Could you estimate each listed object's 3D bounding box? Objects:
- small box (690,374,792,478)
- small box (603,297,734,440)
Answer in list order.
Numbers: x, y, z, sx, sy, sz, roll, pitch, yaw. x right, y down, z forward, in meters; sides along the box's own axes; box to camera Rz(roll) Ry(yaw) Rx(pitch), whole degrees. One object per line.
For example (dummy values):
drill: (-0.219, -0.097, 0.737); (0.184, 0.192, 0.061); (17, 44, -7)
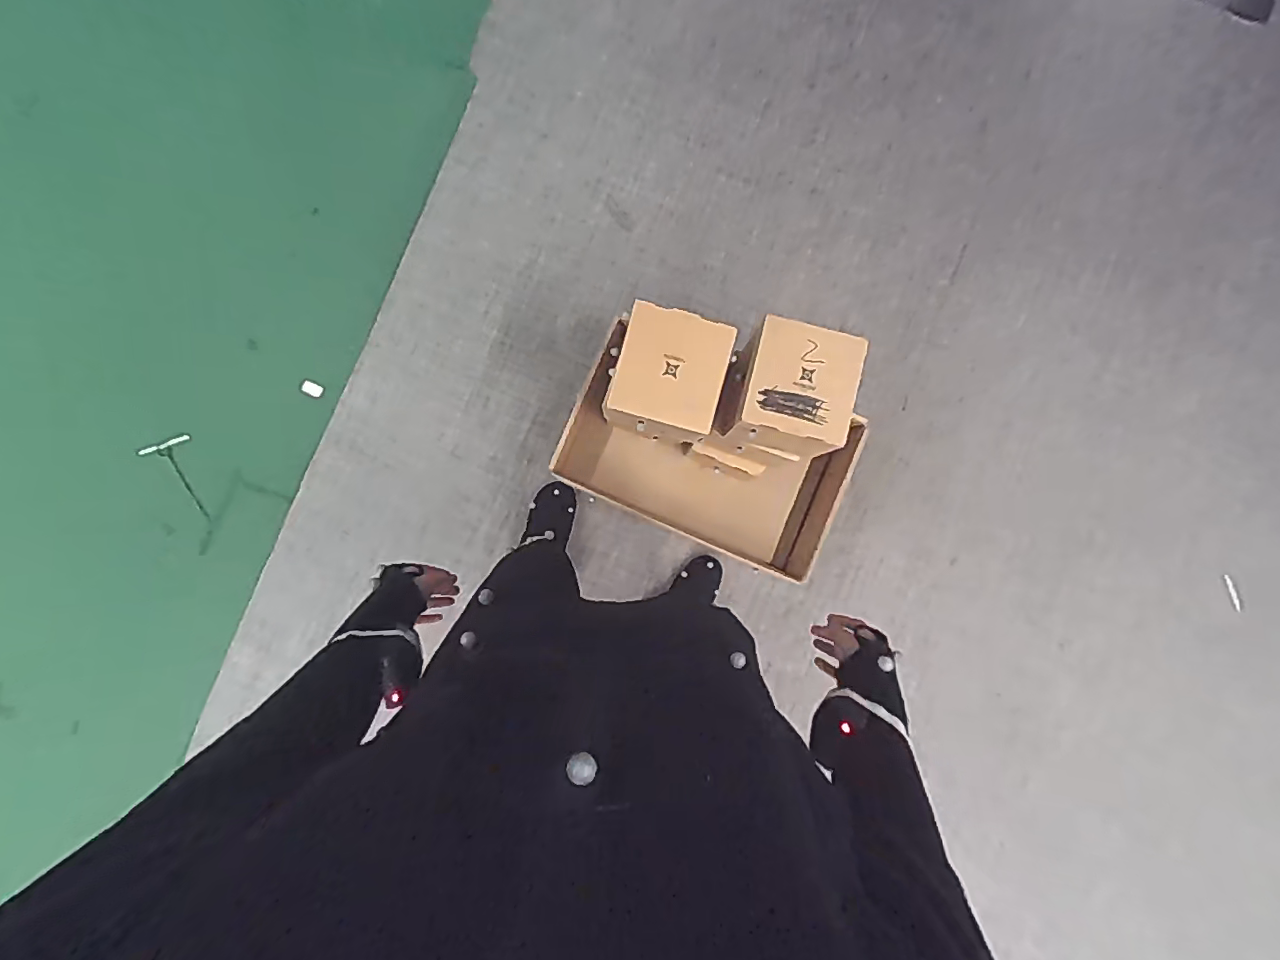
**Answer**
small box: (0.219, -0.115, 1.231); (0.168, 0.176, 0.179); (23, 88, 2)
small box: (0.044, -0.173, 0.902); (0.168, 0.176, 0.179); (16, 88, -1)
